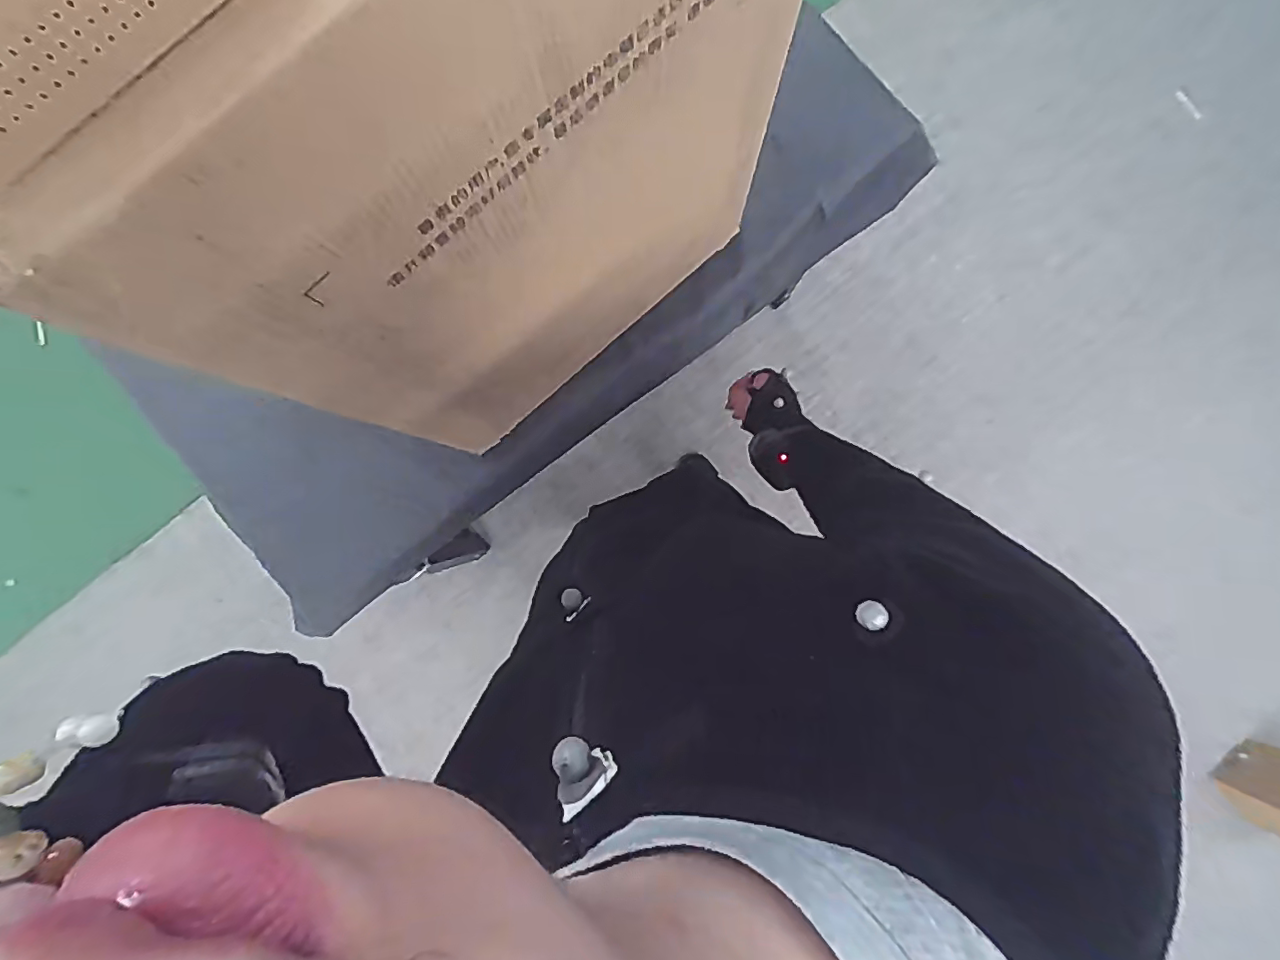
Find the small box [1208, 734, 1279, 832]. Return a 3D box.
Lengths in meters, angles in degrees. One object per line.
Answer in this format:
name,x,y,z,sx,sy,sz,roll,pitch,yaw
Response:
small box,1.663,0.799,1.397,0.168,0.176,0.179,-42,86,-2
